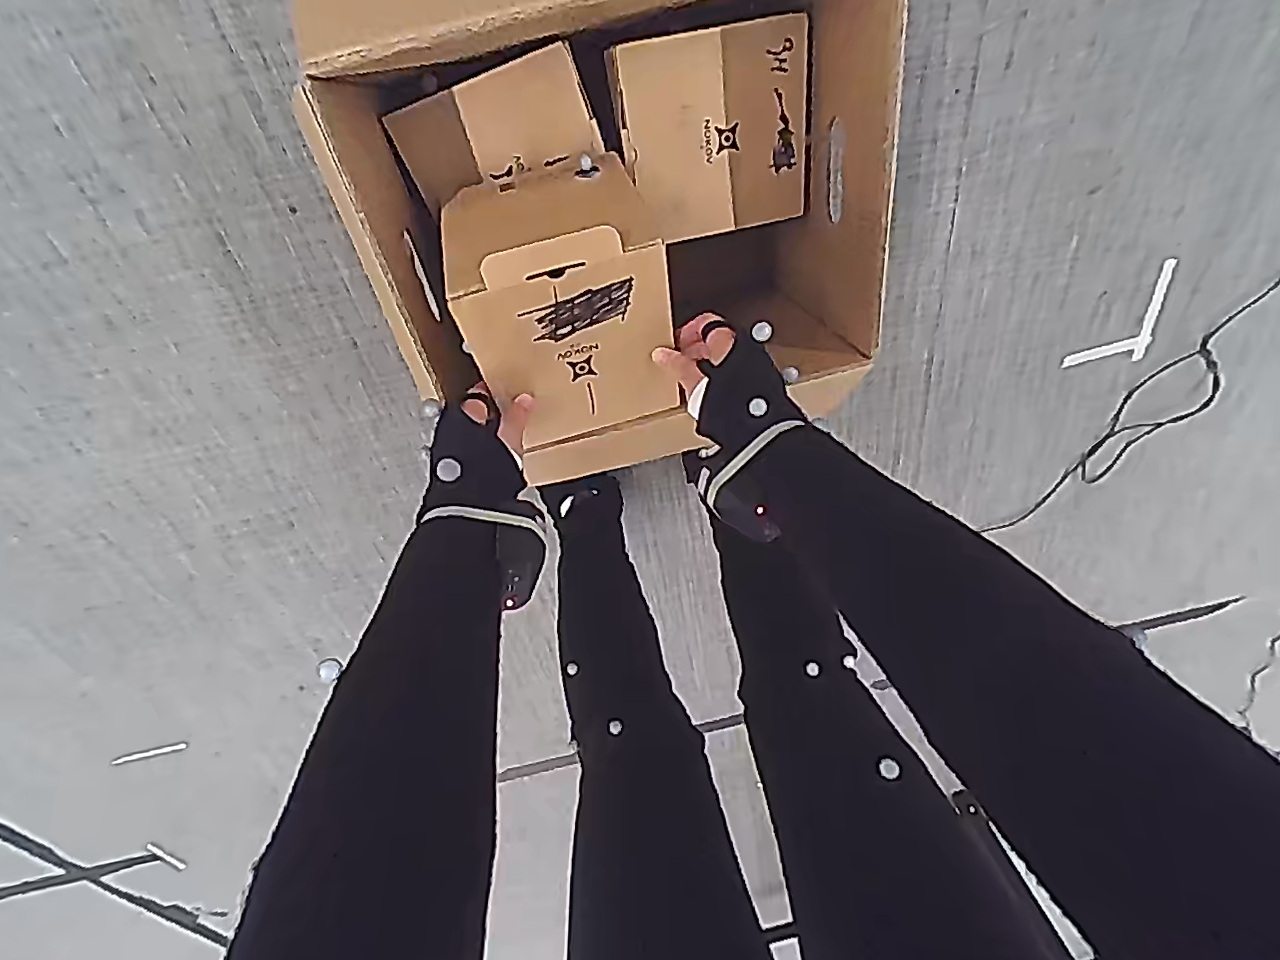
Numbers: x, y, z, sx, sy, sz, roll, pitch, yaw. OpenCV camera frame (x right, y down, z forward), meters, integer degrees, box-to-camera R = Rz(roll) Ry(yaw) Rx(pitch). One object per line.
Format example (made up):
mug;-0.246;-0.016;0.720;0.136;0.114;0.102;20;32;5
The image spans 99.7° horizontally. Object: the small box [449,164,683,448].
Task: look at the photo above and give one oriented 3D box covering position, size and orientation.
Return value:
small box;-0.066;-0.163;0.498;0.168;0.176;0.179;-15;143;-3
